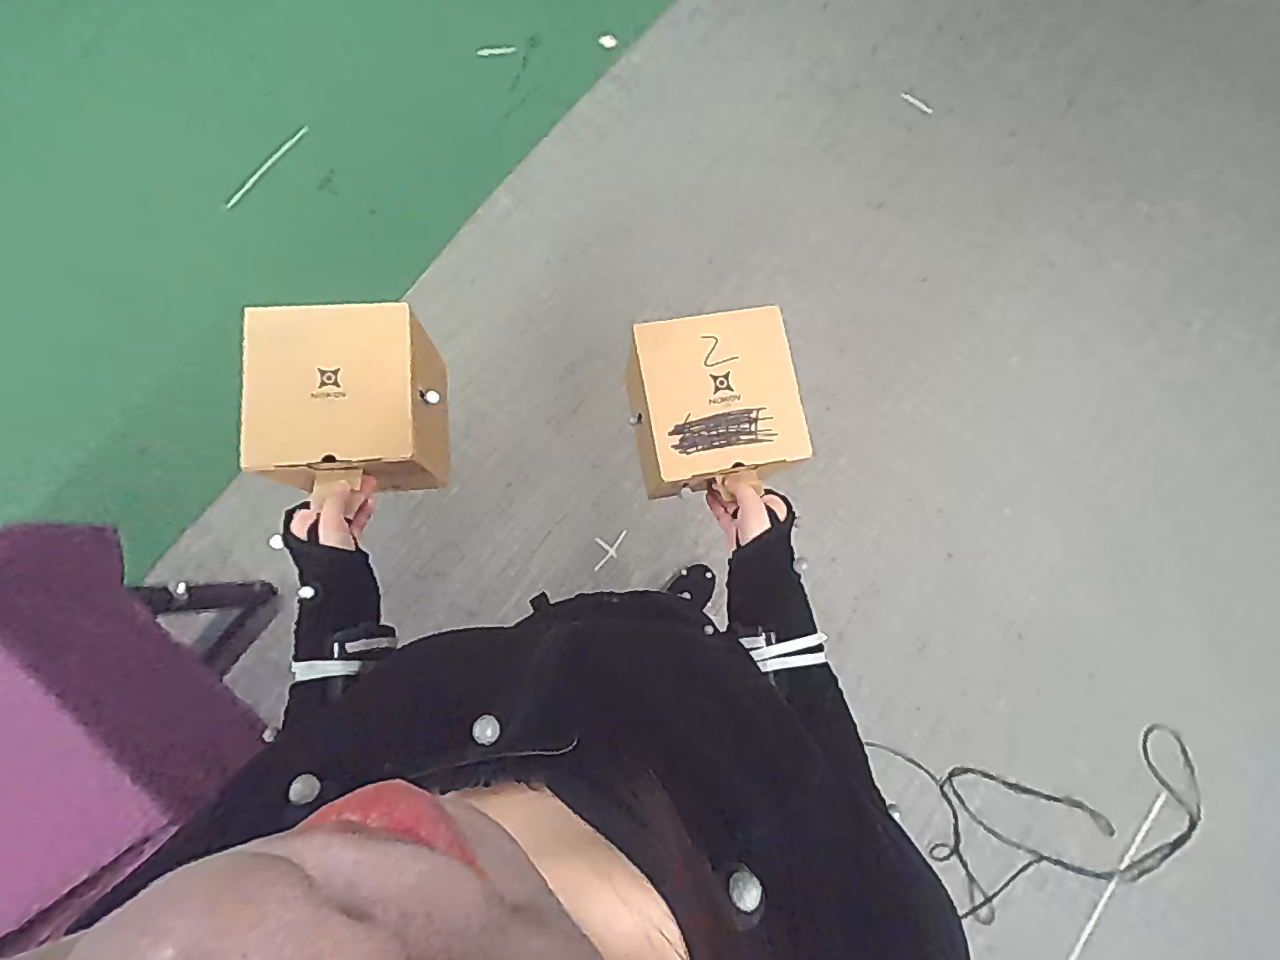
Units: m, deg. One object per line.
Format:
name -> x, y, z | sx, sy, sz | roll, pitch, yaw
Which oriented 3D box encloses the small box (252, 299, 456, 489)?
small box -> -0.318, -0.092, 0.635 | 0.168, 0.176, 0.179 | -3, 81, -8
